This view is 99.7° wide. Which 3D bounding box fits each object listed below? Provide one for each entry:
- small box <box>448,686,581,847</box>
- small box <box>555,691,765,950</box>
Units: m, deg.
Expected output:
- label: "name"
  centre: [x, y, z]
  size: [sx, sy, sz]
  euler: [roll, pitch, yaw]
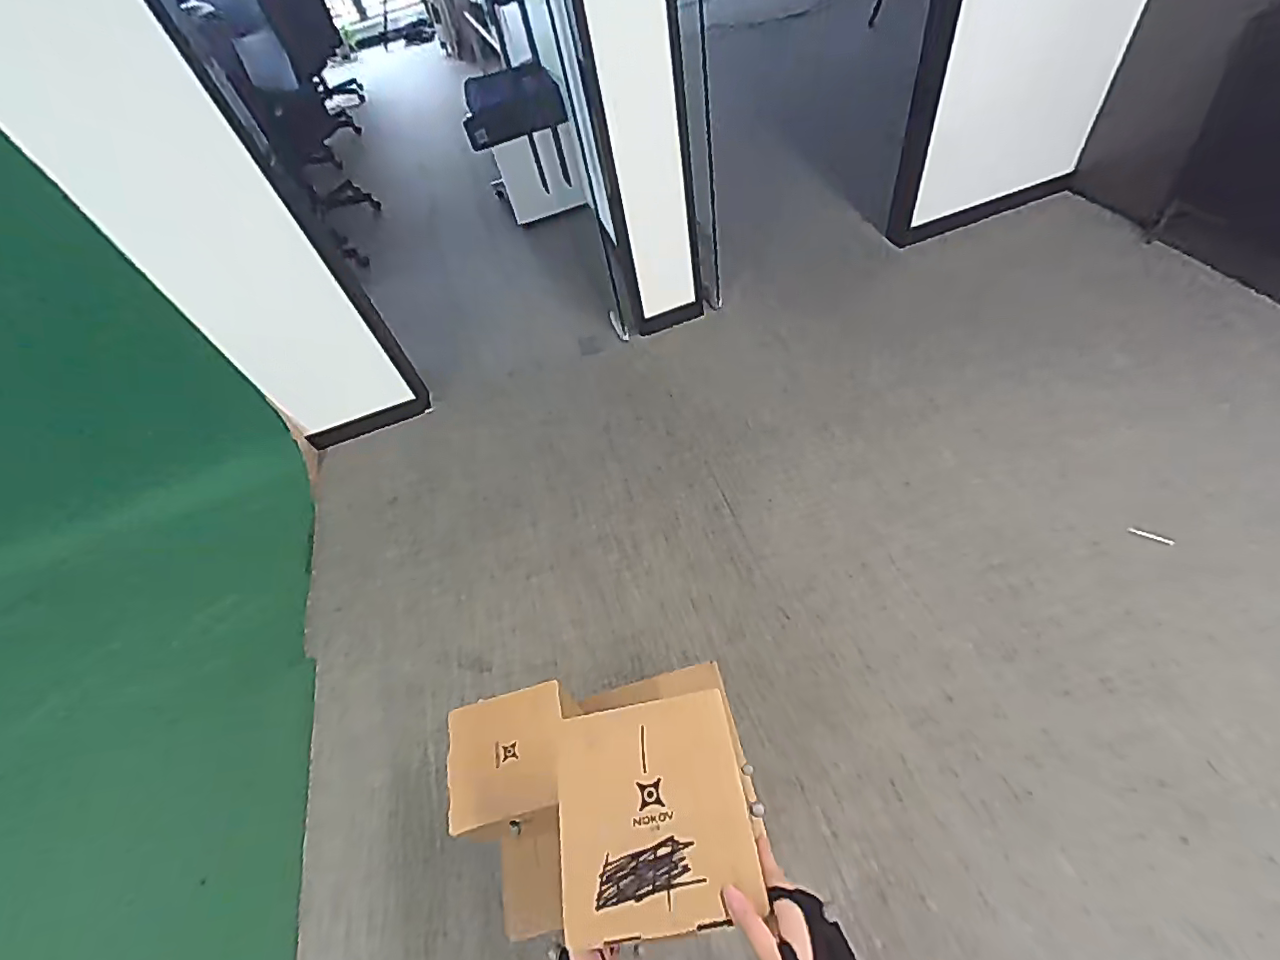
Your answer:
- label: "small box"
  centre: [-0.176, 0.443, 0.832]
  size: [0.179, 0.176, 0.168]
  euler: [-17, 50, 0]
- label: "small box"
  centre: [0.022, 0.336, 0.536]
  size: [0.168, 0.176, 0.179]
  euler: [-13, 49, 4]
